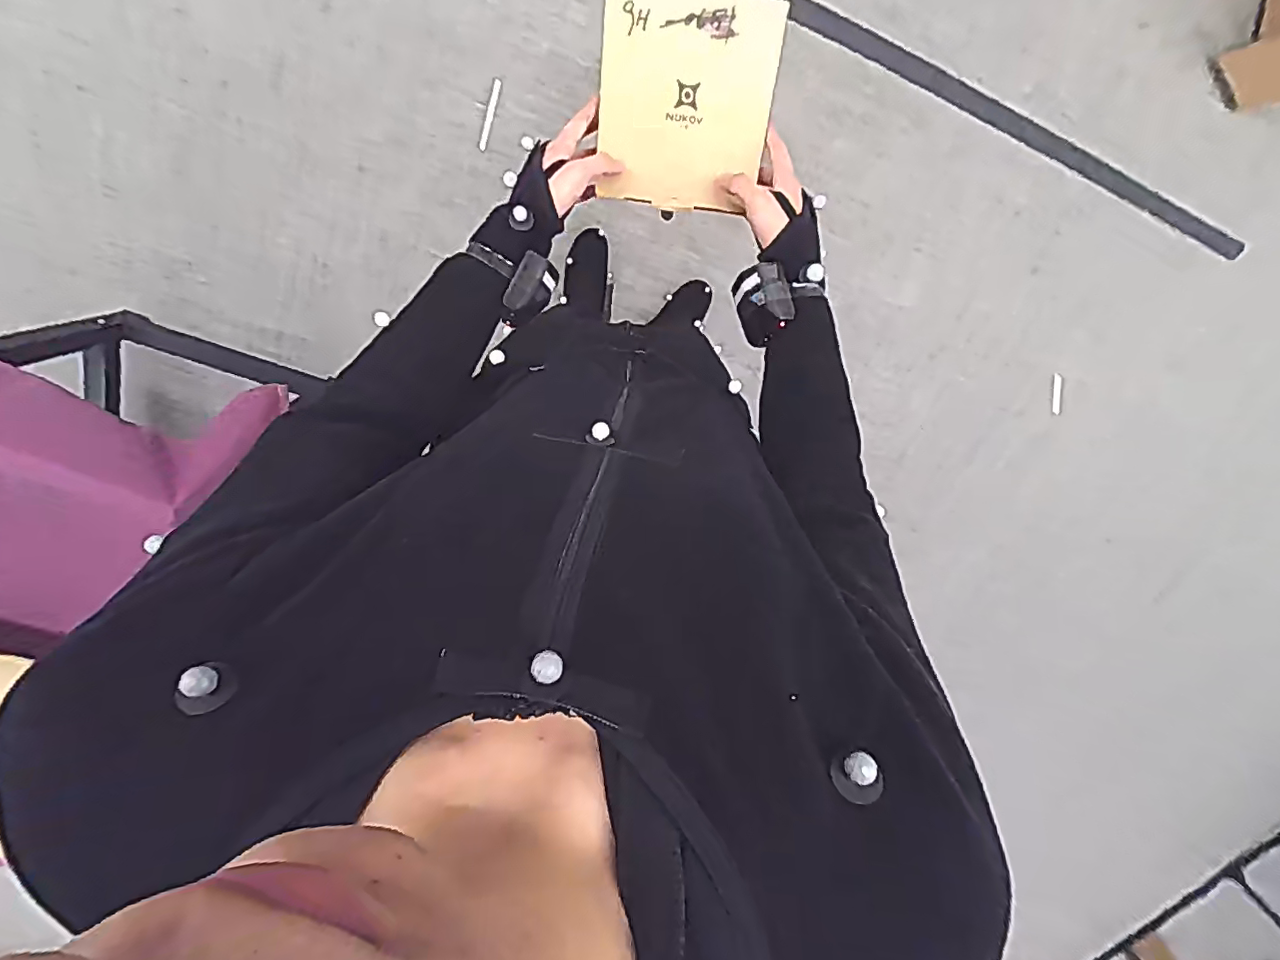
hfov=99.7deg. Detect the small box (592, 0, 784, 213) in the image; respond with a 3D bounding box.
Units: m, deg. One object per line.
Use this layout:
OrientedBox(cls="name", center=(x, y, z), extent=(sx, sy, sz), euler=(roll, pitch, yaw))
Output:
OrientedBox(cls="small box", center=(0.042, -0.403, 0.591), extent=(0.168, 0.176, 0.179), euler=(6, 120, -3))
